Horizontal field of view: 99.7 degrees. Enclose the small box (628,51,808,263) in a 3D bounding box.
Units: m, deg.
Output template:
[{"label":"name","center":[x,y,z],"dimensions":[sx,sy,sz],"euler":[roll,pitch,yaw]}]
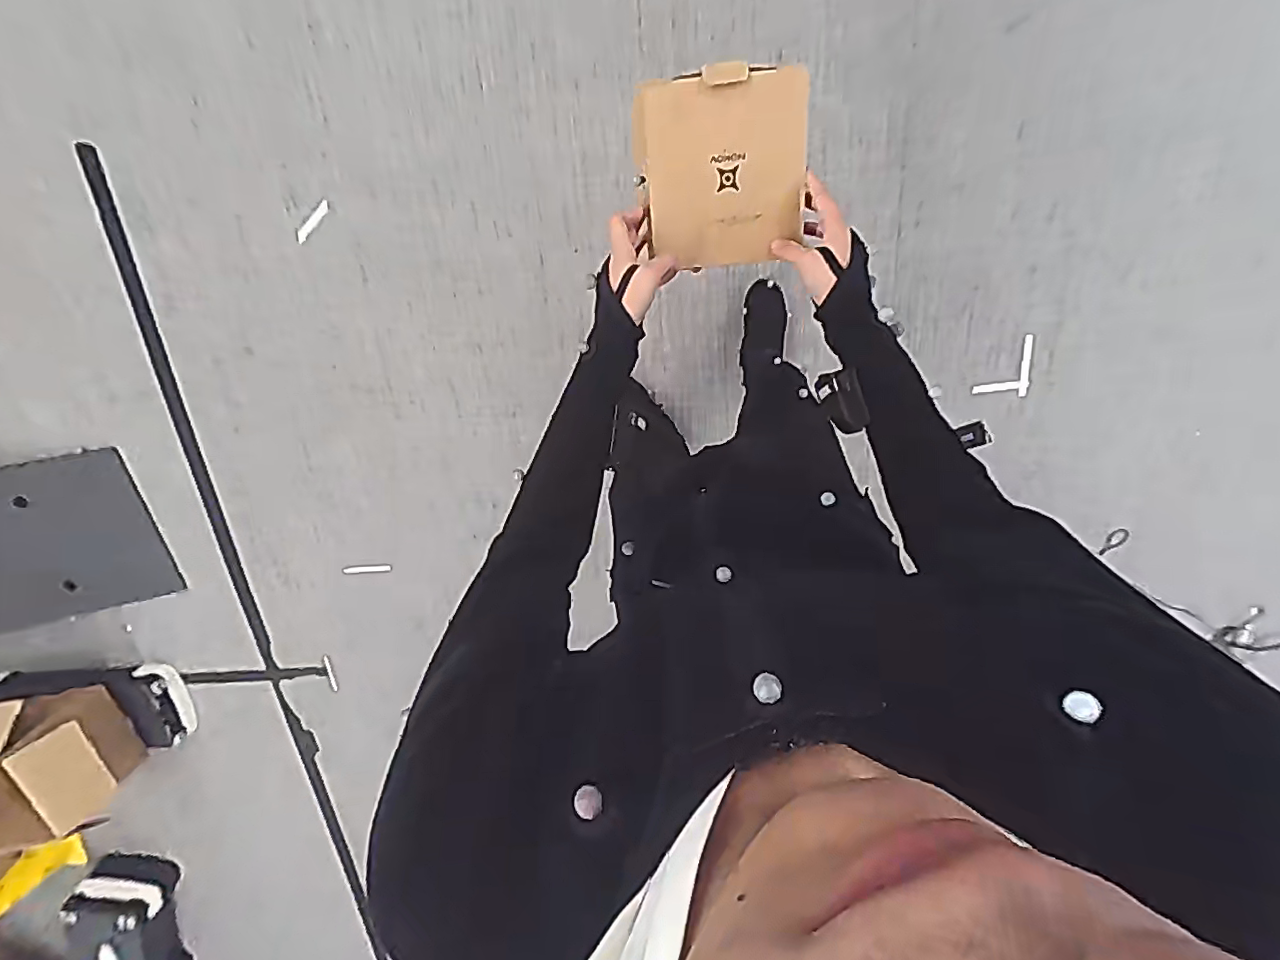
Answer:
[{"label":"small box","center":[0.079,-0.349,0.612],"dimensions":[0.168,0.176,0.179],"euler":[-7,116,-1]}]
